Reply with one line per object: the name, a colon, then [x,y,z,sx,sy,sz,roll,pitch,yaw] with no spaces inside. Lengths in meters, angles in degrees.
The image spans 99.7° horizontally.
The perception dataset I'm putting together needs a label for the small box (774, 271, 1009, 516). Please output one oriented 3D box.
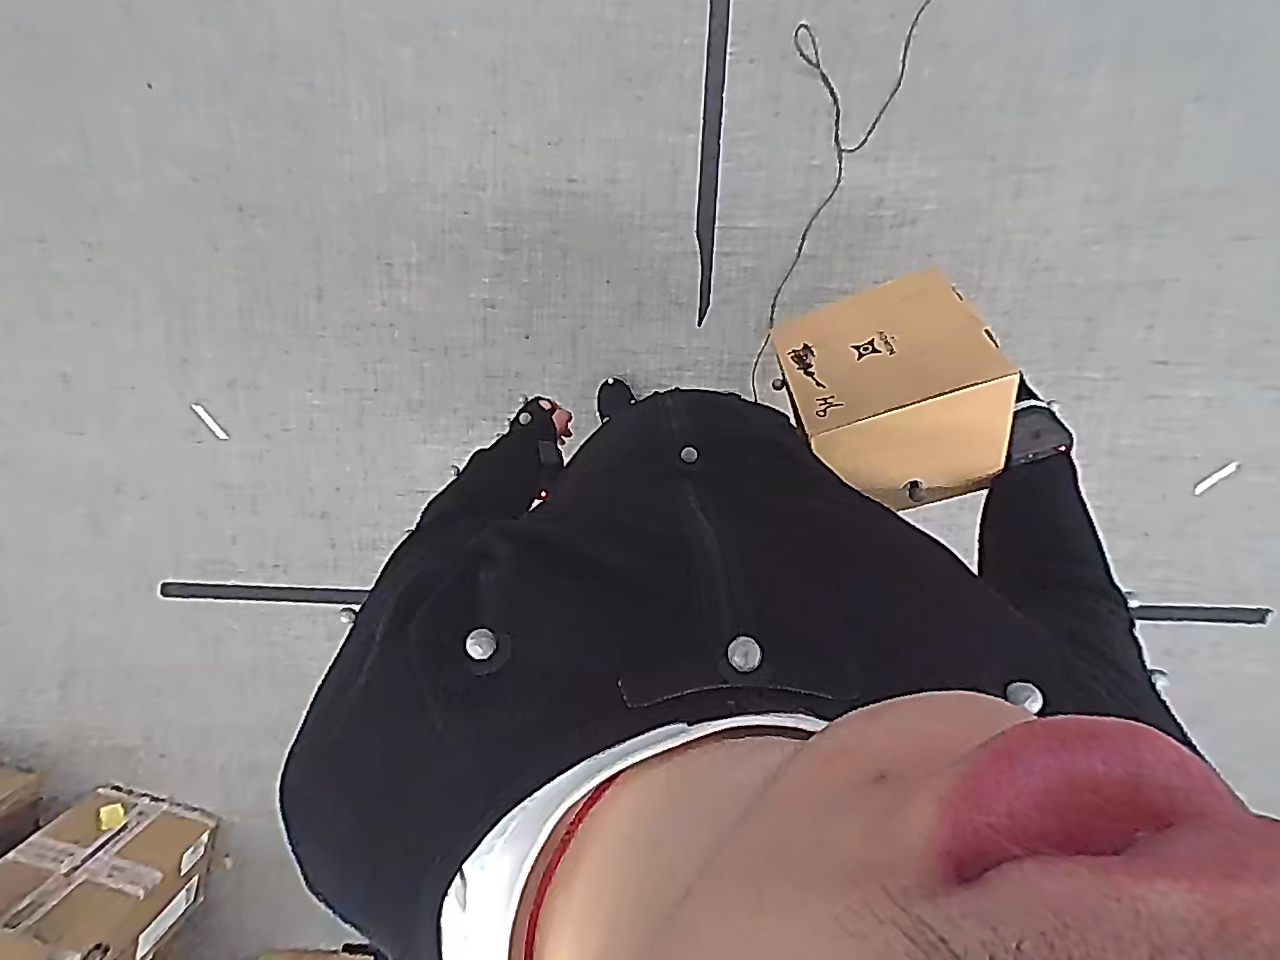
small box: [0.263,-0.086,0.592,0.179,0.168,0.176,-18,138,15]
